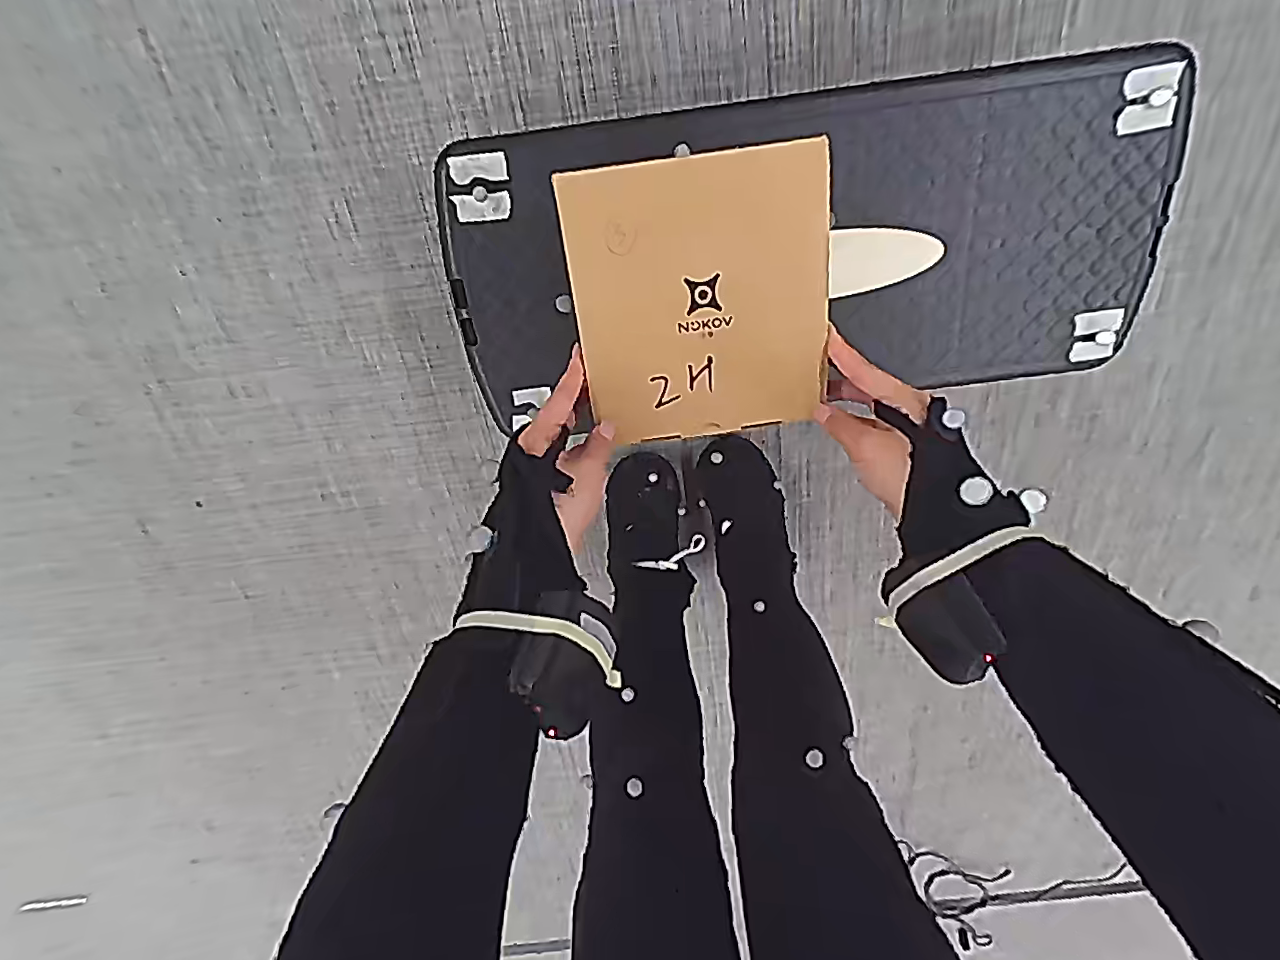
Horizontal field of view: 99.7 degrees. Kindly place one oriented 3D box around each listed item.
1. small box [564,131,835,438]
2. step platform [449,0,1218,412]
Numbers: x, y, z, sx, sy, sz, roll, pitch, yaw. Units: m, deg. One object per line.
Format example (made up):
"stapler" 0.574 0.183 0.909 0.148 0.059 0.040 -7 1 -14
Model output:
"small box" 0.039 -0.149 0.424 0.168 0.176 0.179 -7 115 1
"step platform" 0.164 -0.261 0.569 0.684 0.204 0.286 -7 115 2
